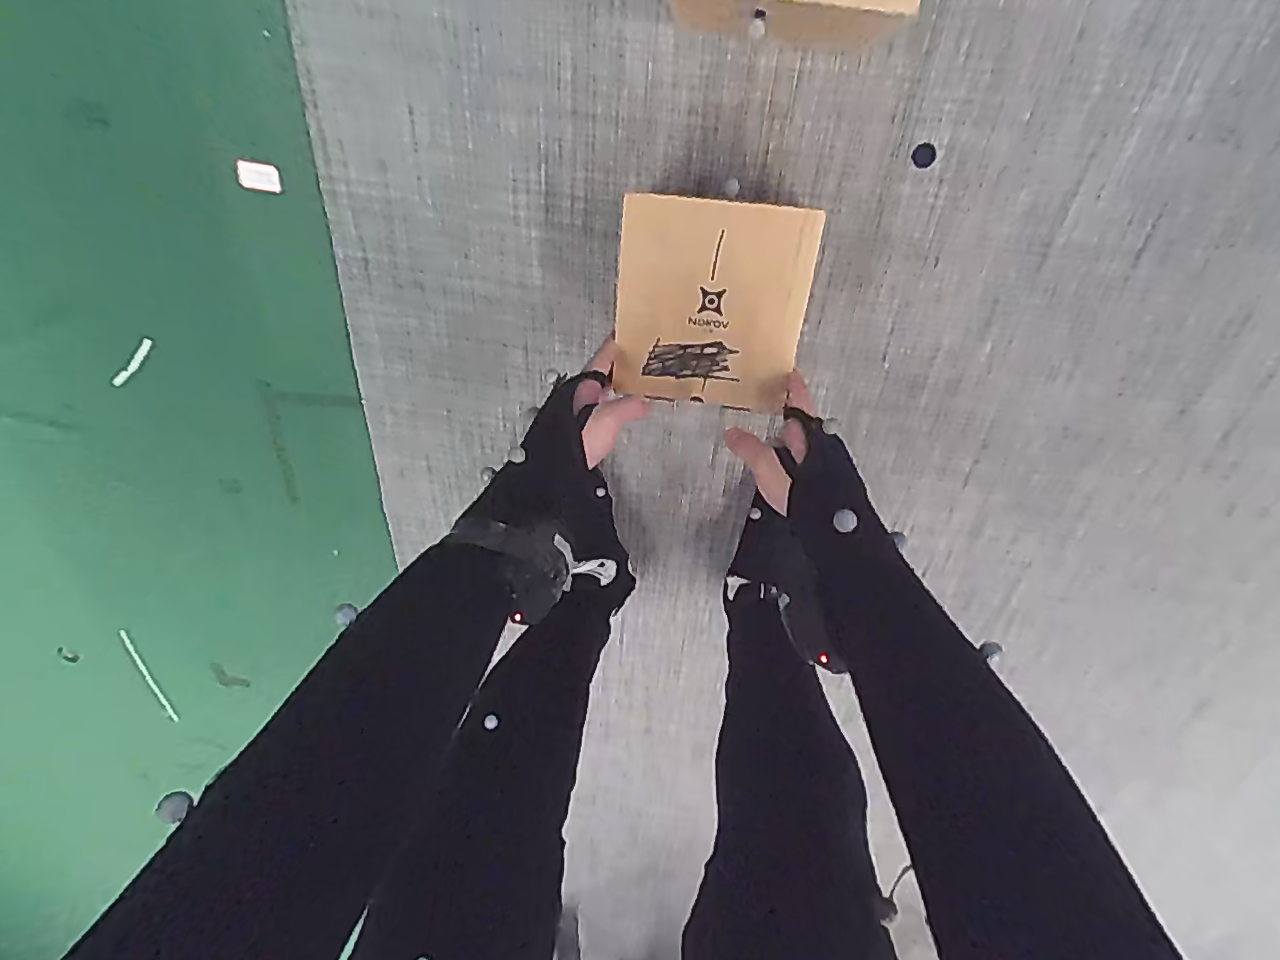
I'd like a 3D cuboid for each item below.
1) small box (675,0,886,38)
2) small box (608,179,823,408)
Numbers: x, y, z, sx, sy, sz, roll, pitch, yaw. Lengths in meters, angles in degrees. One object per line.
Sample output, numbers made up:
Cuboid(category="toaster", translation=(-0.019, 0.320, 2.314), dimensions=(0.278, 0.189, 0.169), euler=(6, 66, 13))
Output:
Cuboid(category="small box", translation=(0.113, -0.439, 0.384), dimensions=(0.179, 0.176, 0.168), euler=(10, 122, 4))
Cuboid(category="small box", translation=(0.068, -0.188, 0.533), dimensions=(0.168, 0.176, 0.179), euler=(7, 117, 5))
